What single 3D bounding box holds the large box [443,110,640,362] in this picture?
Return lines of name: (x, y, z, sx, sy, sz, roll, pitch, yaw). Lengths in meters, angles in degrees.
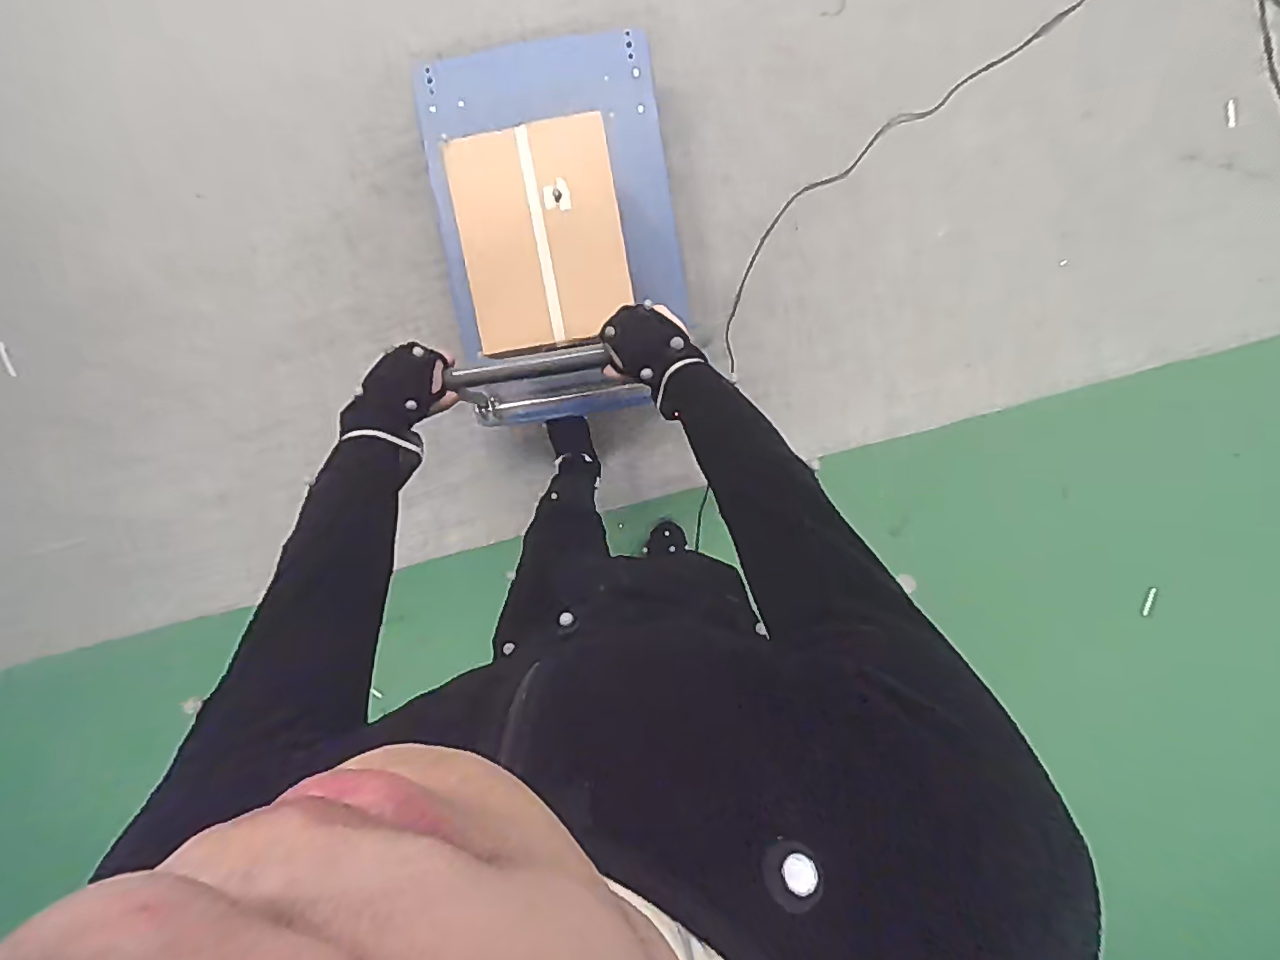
large box: (-0.187, -0.500, 1.198, 0.320, 0.320, 0.408, -10, 97, 2)
